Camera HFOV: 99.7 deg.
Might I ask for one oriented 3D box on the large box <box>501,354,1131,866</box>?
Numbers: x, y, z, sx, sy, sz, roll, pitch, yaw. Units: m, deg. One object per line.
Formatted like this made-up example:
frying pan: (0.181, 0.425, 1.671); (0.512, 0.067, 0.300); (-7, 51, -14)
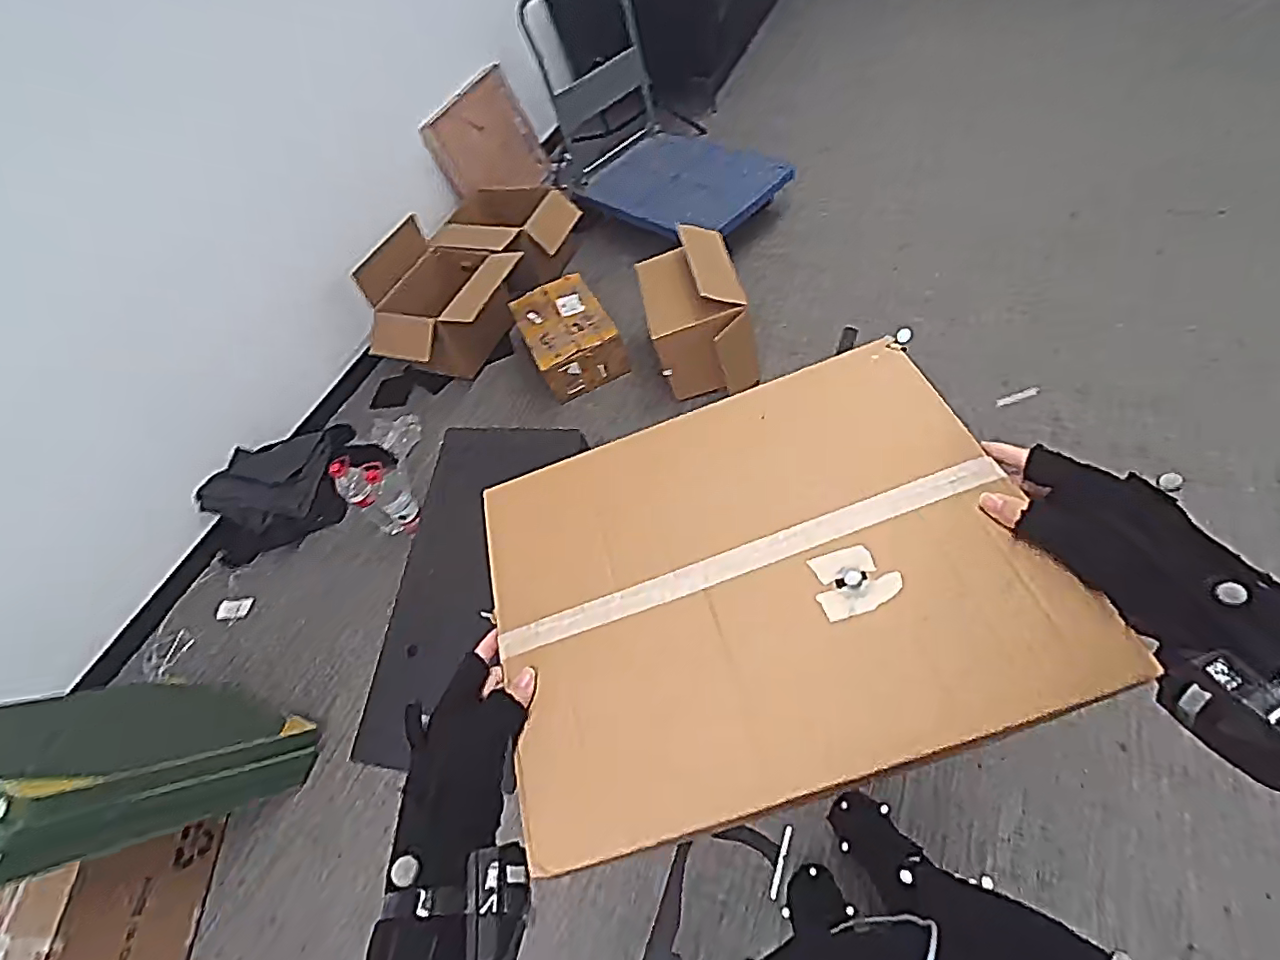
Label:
large box: (0.122, 0.146, 0.553); (0.408, 0.320, 0.320); (-20, 56, 3)
